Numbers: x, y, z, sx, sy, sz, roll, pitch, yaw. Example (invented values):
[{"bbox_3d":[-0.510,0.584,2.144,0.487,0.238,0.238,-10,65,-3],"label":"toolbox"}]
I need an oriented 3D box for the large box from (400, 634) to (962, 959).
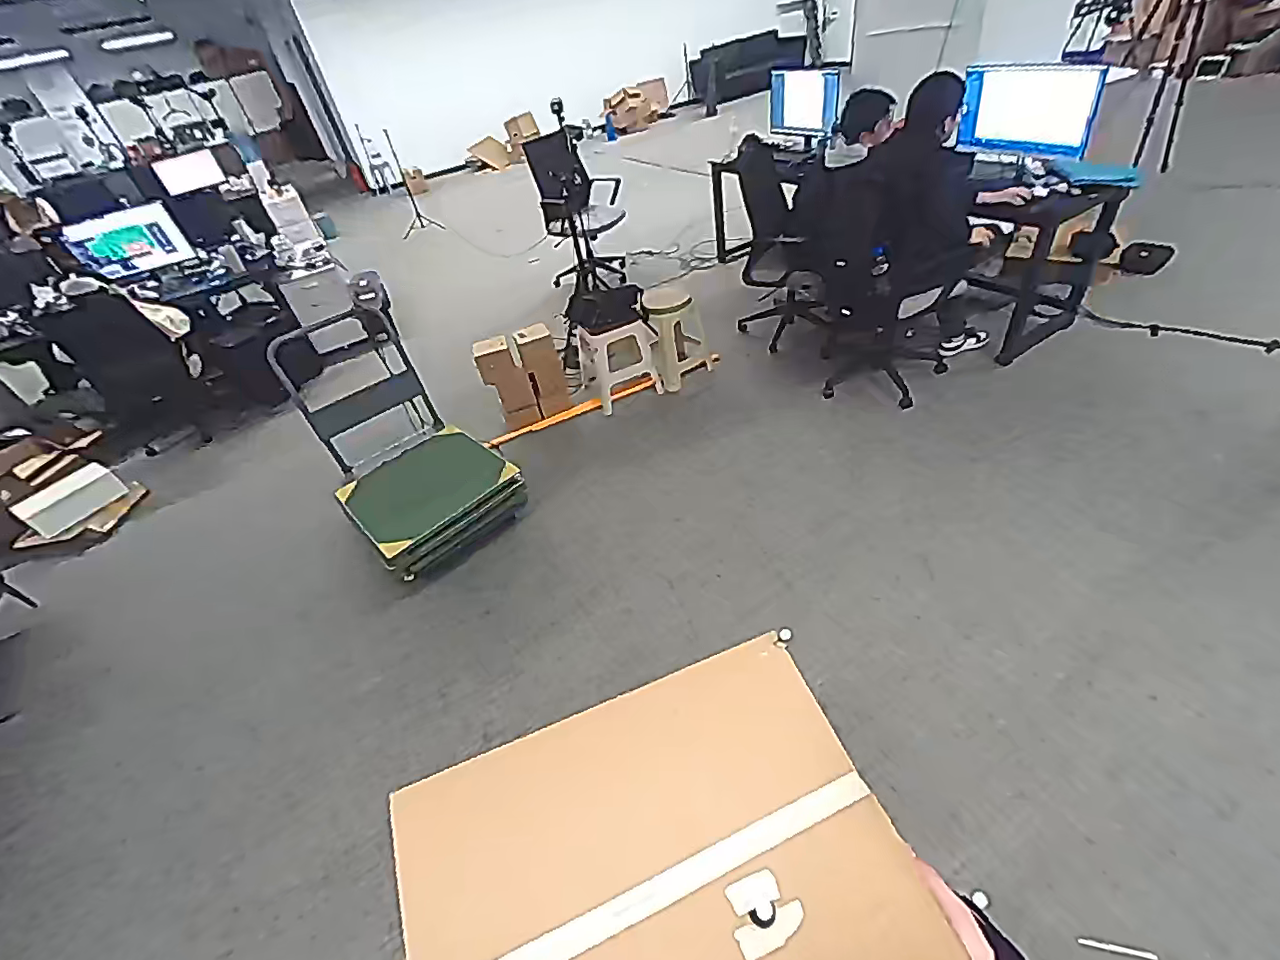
[{"bbox_3d":[0.016,0.431,0.578,0.408,0.320,0.320,-18,56,-15],"label":"large box"}]
